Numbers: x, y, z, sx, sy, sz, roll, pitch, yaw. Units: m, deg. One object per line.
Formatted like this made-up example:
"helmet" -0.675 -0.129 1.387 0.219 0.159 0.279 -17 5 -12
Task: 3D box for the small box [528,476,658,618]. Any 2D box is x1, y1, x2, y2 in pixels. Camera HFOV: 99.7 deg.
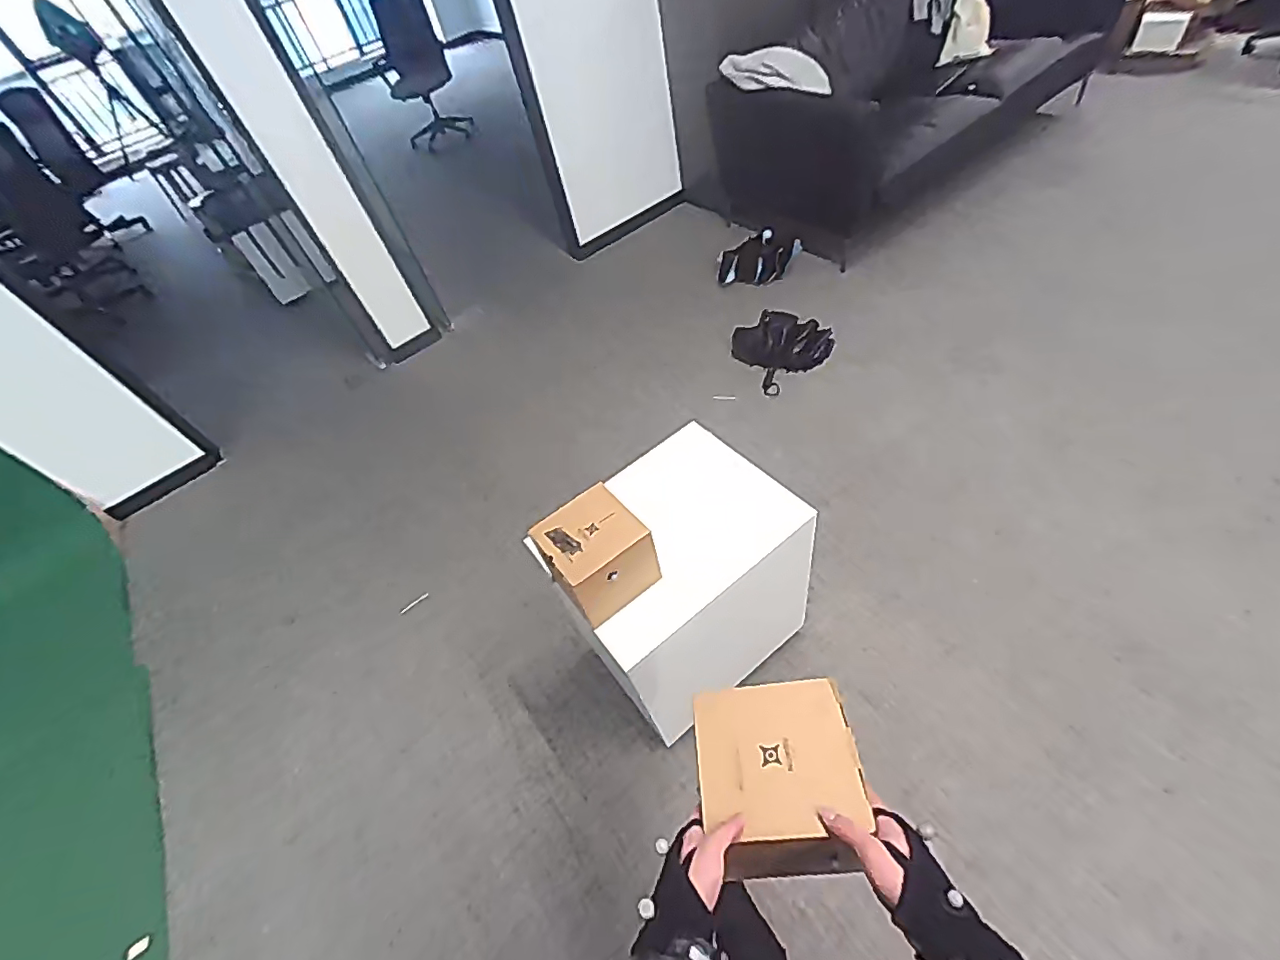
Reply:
"small box" -0.083 0.132 1.041 0.179 0.176 0.168 -34 53 -18

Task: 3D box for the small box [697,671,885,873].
"small box" 0.172 0.354 0.653 0.179 0.176 0.168 -11 42 8
